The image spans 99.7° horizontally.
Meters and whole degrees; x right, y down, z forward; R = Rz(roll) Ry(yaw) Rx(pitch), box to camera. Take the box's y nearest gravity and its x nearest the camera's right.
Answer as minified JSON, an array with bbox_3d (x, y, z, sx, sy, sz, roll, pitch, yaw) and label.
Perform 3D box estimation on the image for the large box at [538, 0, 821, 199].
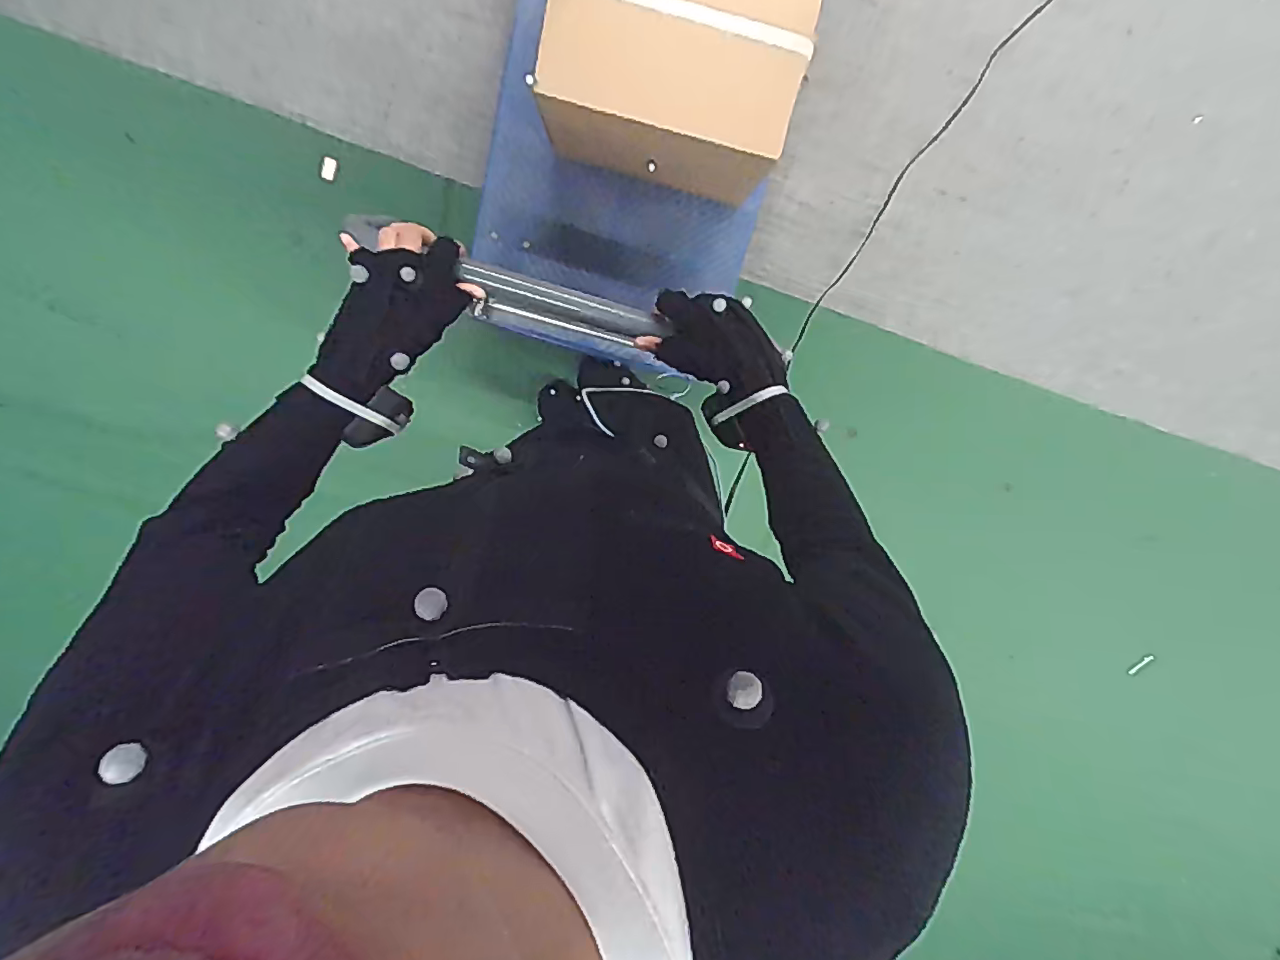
[{"bbox_3d":[0.066,-0.742,0.963,0.408,0.320,0.320,13,103,-5],"label":"large box"}]
